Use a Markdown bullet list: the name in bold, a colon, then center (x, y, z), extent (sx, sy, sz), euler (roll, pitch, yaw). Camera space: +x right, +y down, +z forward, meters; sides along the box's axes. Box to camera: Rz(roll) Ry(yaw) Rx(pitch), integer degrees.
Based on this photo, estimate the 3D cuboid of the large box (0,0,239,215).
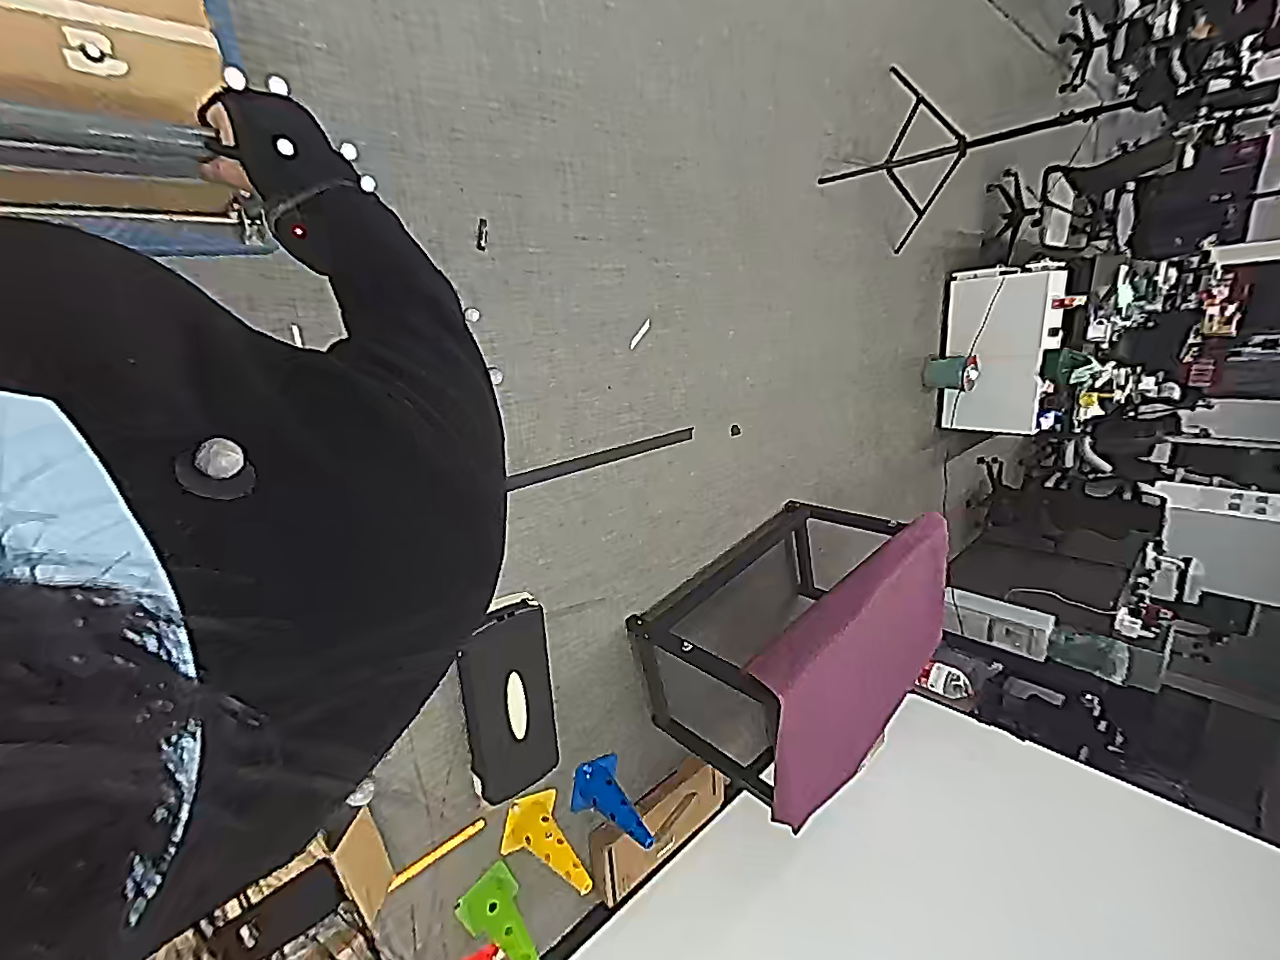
- **large box**: center (-0.850, -0.570, 0.739), extent (0.408, 0.320, 0.320), euler (-19, 111, -39)
